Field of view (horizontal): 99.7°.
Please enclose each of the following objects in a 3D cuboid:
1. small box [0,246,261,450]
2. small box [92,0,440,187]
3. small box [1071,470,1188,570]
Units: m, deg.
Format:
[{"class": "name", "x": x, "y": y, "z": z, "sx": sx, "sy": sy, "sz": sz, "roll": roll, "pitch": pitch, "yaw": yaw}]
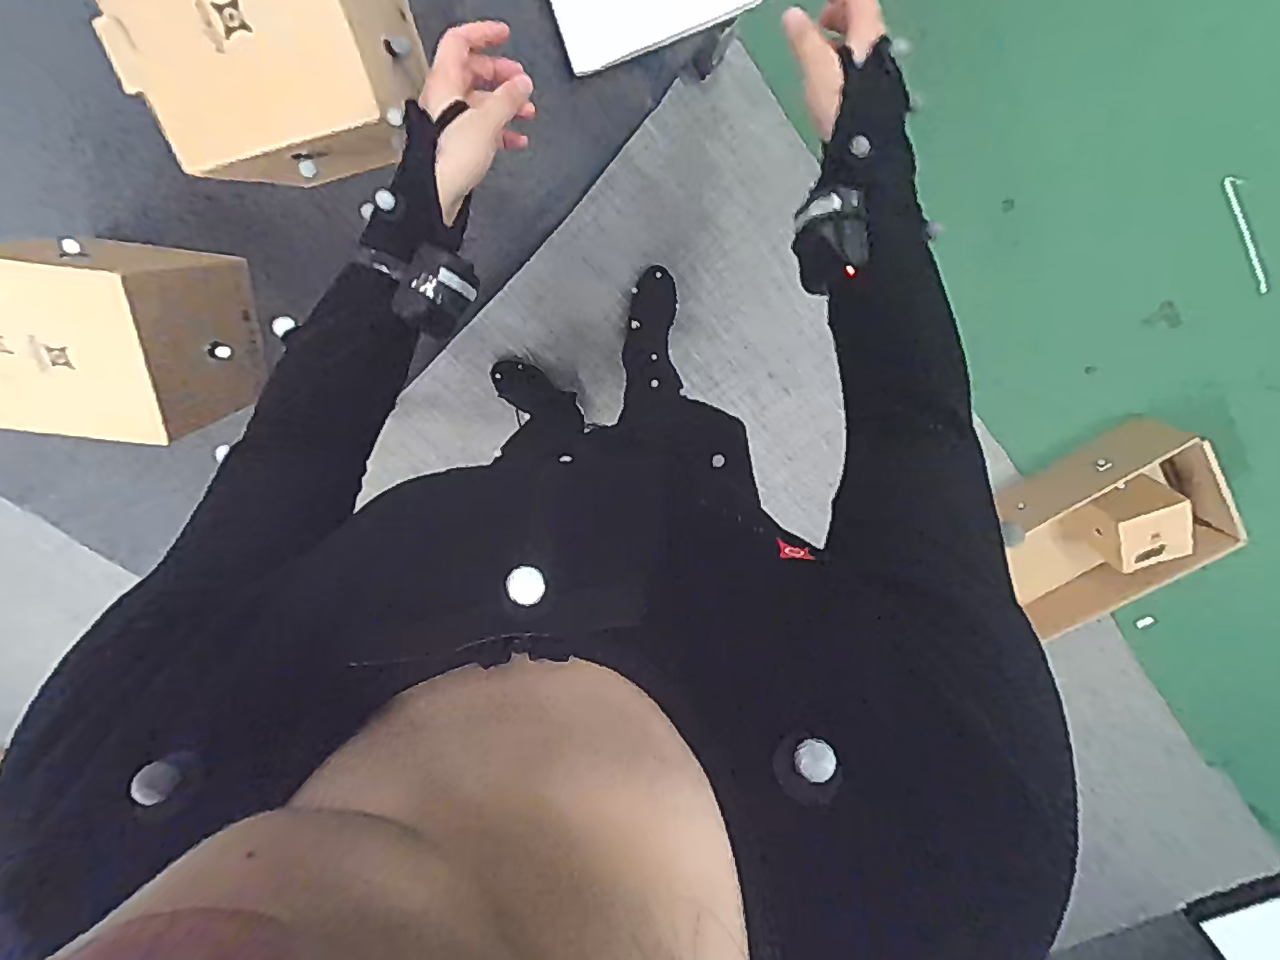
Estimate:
[{"class": "small box", "x": -0.539, "y": -0.146, "z": 0.570, "sx": 0.179, "sy": 0.176, "sz": 0.168, "roll": 7, "pitch": 116, "yaw": -2}, {"class": "small box", "x": -0.293, "y": -0.360, "z": 0.458, "sx": 0.179, "sy": 0.176, "sz": 0.168, "roll": -11, "pitch": 116, "yaw": 8}, {"class": "small box", "x": 1.296, "y": 0.103, "z": 1.440, "sx": 0.168, "sy": 0.176, "sz": 0.179, "roll": -23, "pitch": 115, "yaw": 13}]
